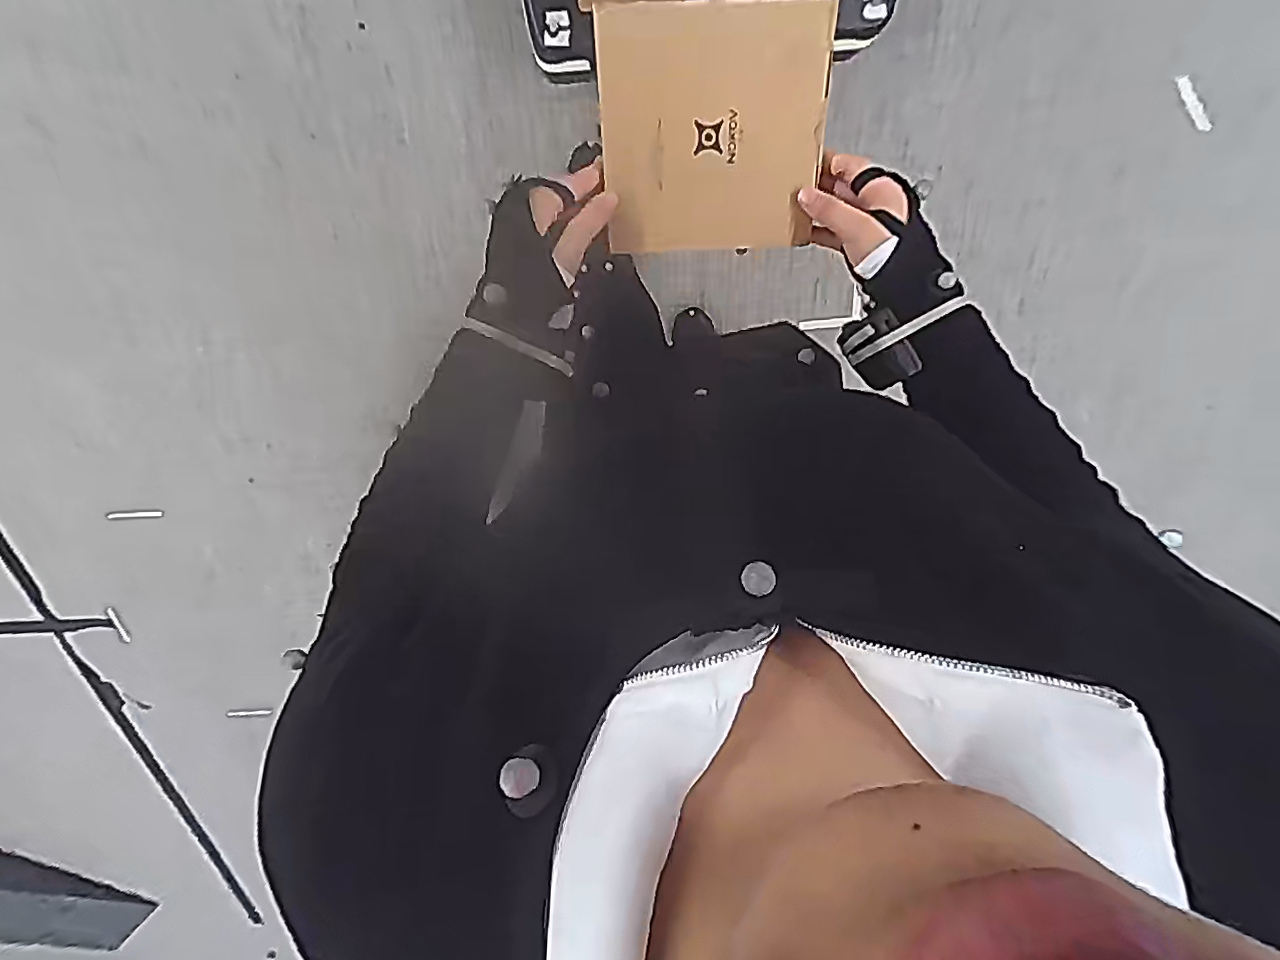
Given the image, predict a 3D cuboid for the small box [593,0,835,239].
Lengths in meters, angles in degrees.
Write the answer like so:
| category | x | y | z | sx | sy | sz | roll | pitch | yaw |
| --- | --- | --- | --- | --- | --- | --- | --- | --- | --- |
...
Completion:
| category | x | y | z | sx | sy | sz | roll | pitch | yaw |
| --- | --- | --- | --- | --- | --- | --- | --- | --- | --- |
| small box | 0.052 | -0.320 | 0.489 | 0.179 | 0.176 | 0.168 | -3 | 120 | 0 |
